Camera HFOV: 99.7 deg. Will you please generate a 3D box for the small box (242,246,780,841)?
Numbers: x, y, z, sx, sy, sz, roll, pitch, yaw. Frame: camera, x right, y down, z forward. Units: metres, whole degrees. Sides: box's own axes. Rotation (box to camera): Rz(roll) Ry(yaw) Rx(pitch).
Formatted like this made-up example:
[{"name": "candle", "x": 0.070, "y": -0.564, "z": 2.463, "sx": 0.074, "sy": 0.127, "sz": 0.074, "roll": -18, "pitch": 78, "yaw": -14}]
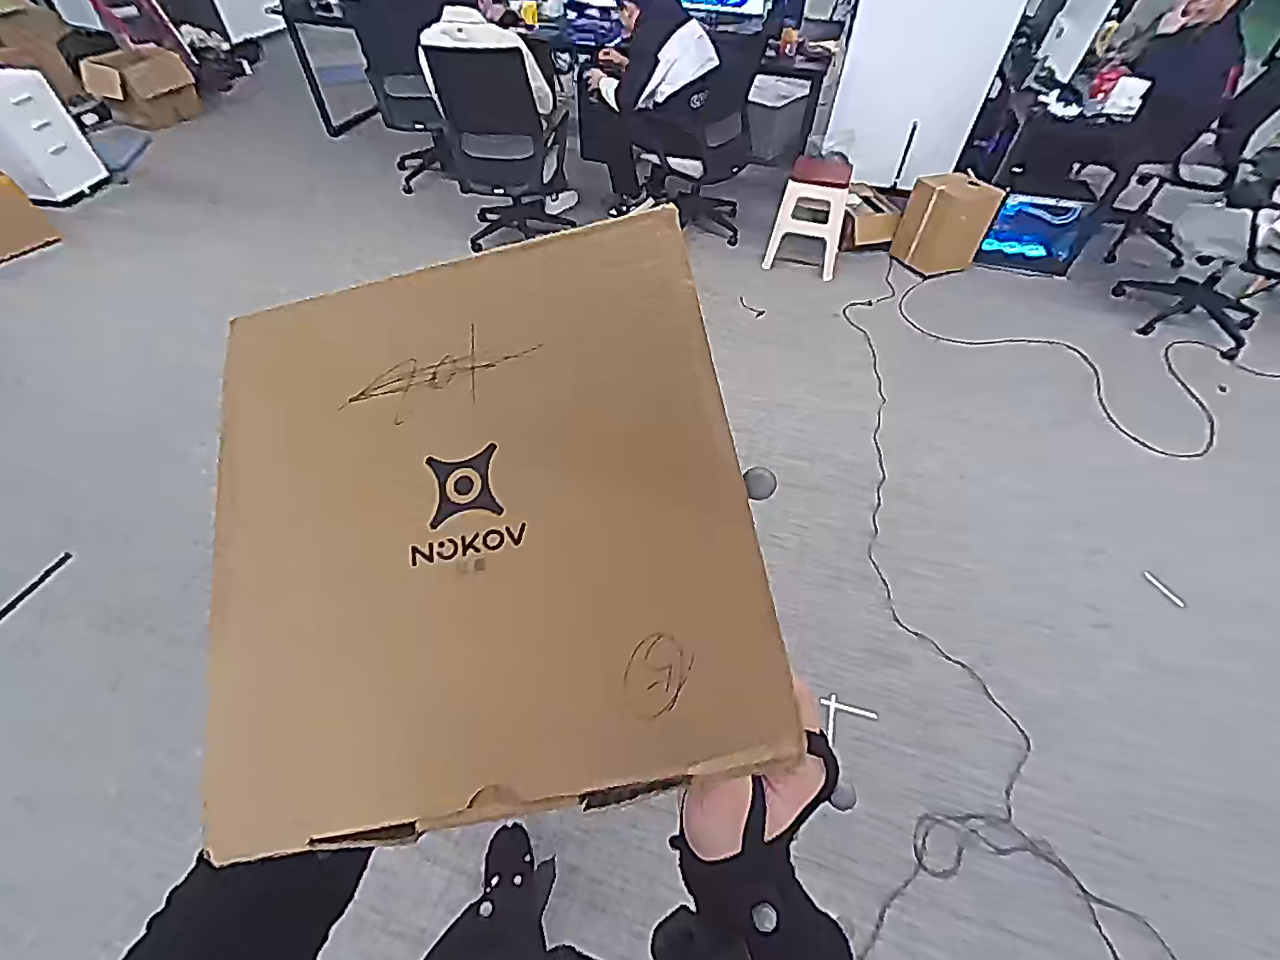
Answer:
[{"name": "small box", "x": -0.043, "y": 0.033, "z": 0.256, "sx": 0.168, "sy": 0.176, "sz": 0.179, "roll": -13, "pitch": 71, "yaw": 3}]
